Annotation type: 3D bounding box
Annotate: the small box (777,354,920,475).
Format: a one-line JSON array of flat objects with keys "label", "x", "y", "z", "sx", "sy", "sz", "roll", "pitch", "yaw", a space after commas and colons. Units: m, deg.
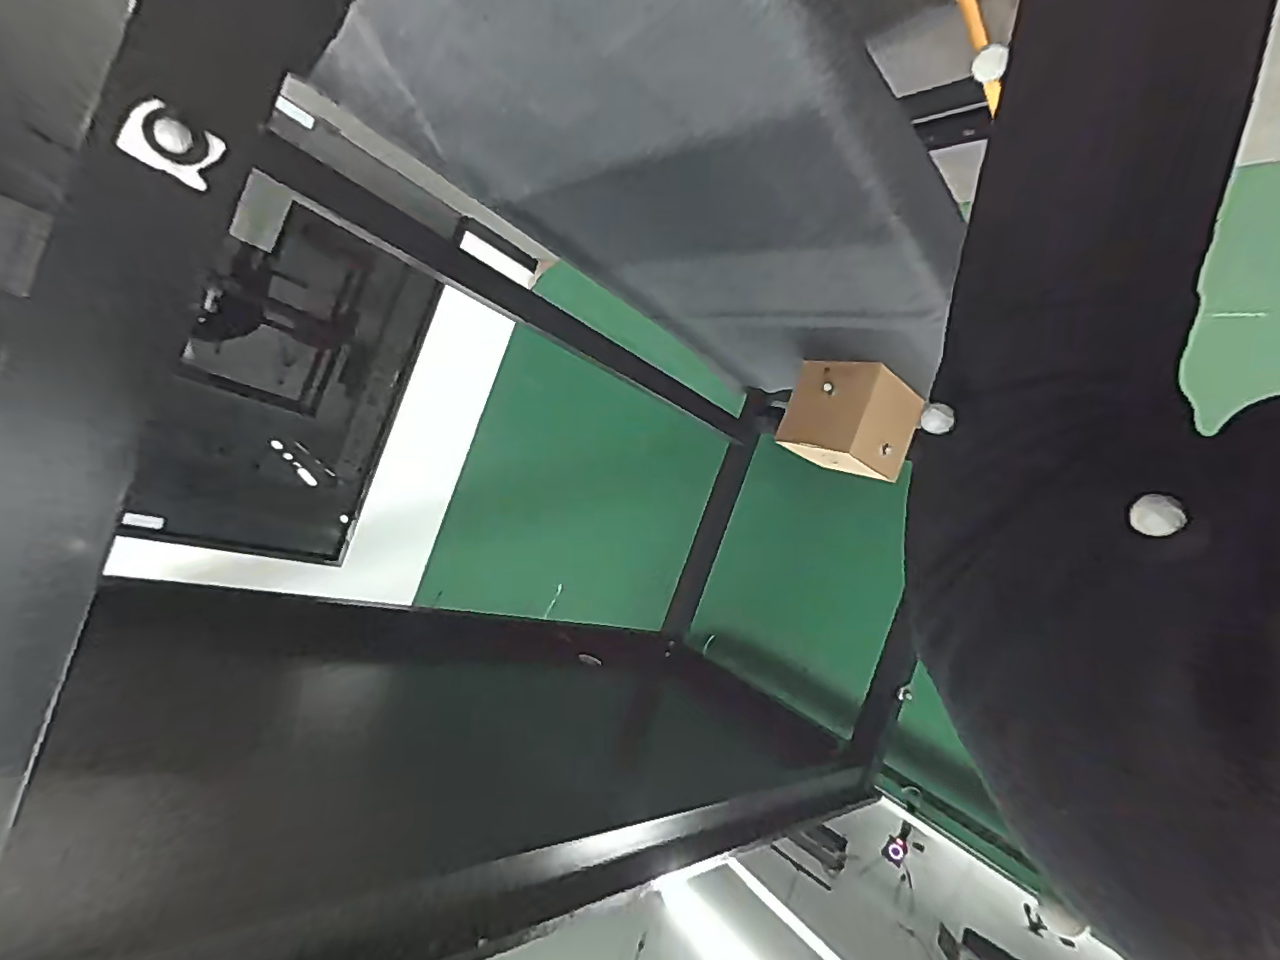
[{"label": "small box", "x": 0.400, "y": -0.126, "z": 1.030, "sx": 0.179, "sy": 0.176, "sz": 0.168, "roll": 21, "pitch": 179, "yaw": -37}]
